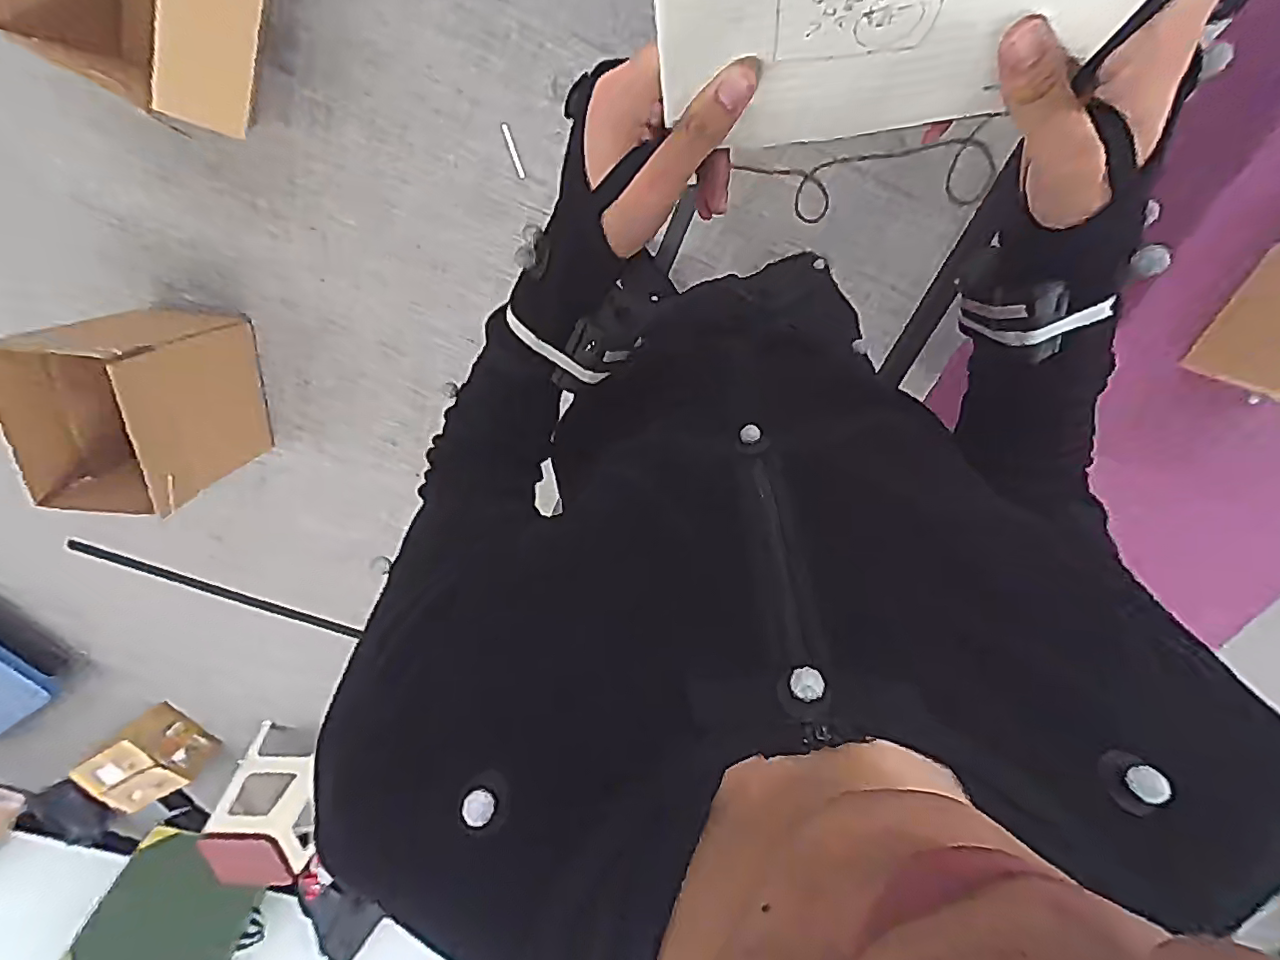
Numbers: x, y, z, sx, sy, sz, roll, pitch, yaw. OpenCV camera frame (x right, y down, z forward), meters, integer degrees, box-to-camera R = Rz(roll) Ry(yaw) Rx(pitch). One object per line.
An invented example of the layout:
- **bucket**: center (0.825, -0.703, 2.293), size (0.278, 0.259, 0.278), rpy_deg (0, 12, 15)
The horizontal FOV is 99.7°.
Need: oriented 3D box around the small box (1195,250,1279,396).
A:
- **small box**: center (0.891, -0.187, 0.684), size (0.168, 0.176, 0.179), rpy_deg (17, 117, -5)
